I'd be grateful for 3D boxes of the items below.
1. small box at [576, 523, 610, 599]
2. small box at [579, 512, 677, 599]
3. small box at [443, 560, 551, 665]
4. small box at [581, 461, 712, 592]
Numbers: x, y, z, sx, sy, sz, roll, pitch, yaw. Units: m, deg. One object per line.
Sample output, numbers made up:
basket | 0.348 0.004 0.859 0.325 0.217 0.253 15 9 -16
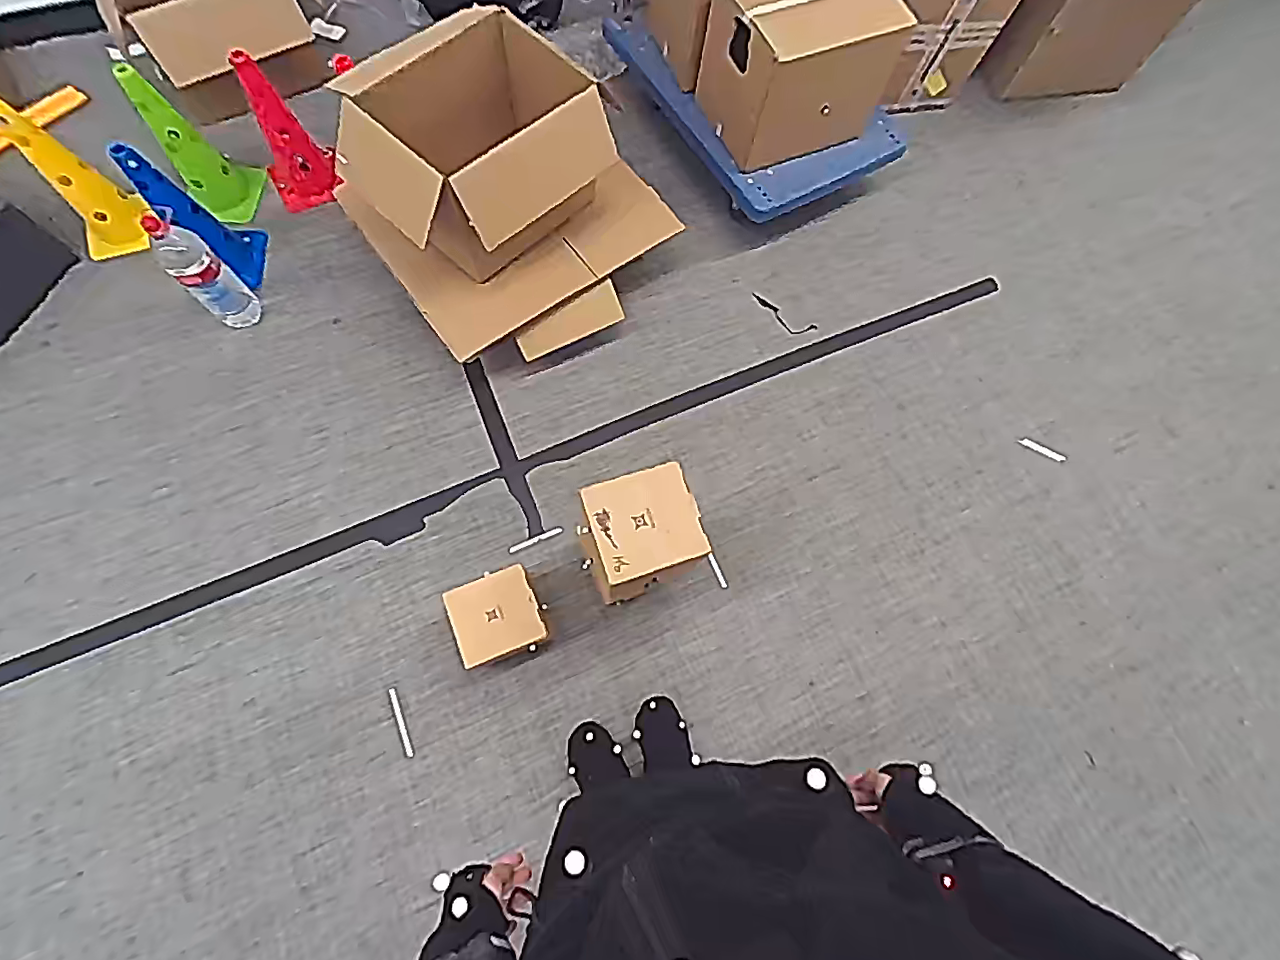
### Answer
small box | -0.040 0.168 1.260 0.168 0.176 0.179 -22 75 -12
small box | -0.014 0.133 1.101 0.179 0.176 0.168 -20 76 -12
small box | -0.308 0.297 1.196 0.179 0.176 0.168 -21 75 -12
small box | 0.002 0.087 0.944 0.179 0.176 0.168 -16 75 -11
